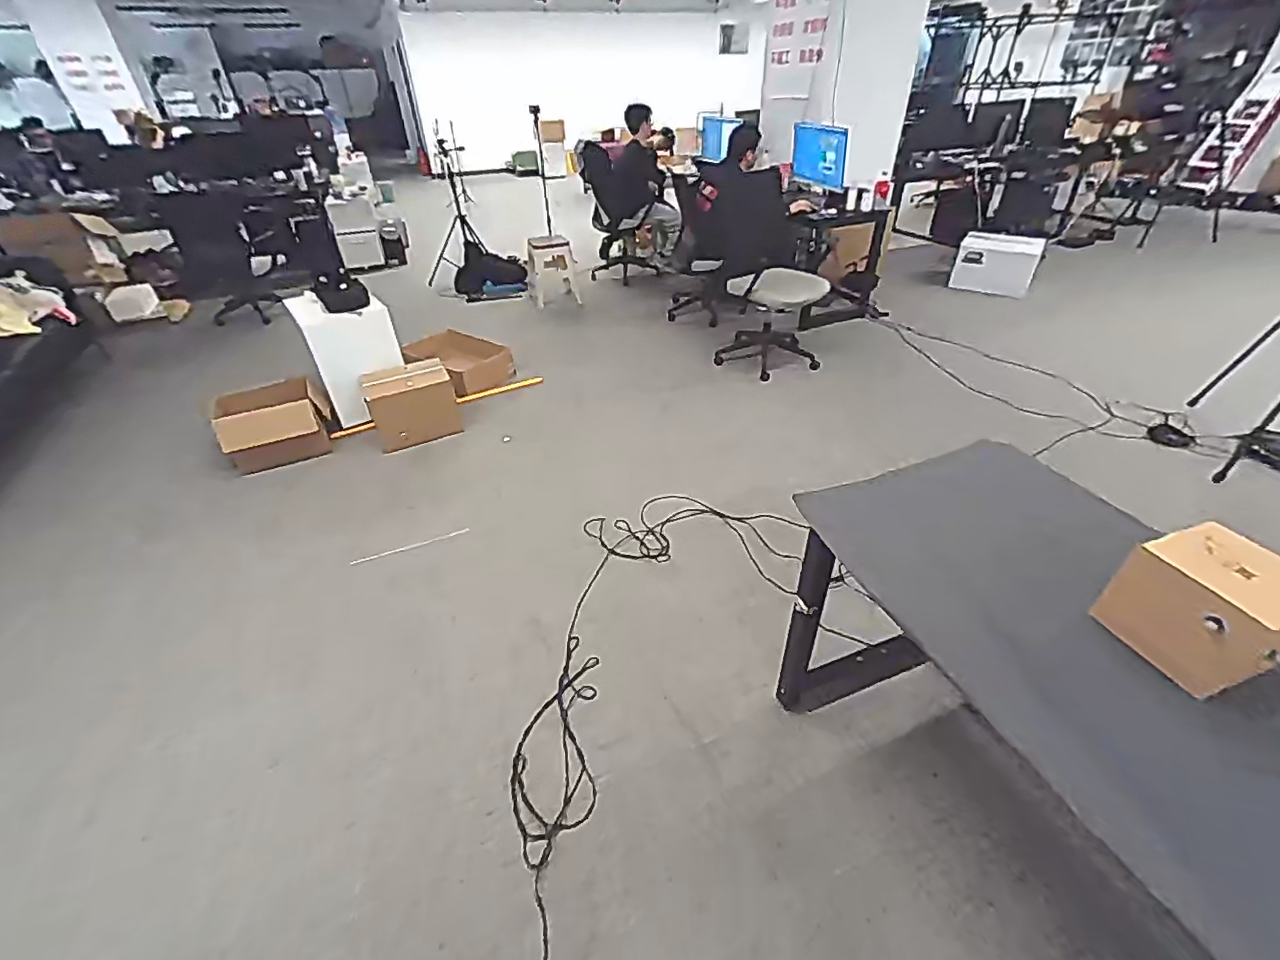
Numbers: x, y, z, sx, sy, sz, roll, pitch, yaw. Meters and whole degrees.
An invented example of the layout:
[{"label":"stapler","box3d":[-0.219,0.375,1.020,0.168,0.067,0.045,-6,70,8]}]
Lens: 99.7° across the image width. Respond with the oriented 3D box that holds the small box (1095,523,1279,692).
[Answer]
[{"label":"small box","box3d":[0.871,0.199,0.830,0.168,0.176,0.179,-13,38,-14]}]
